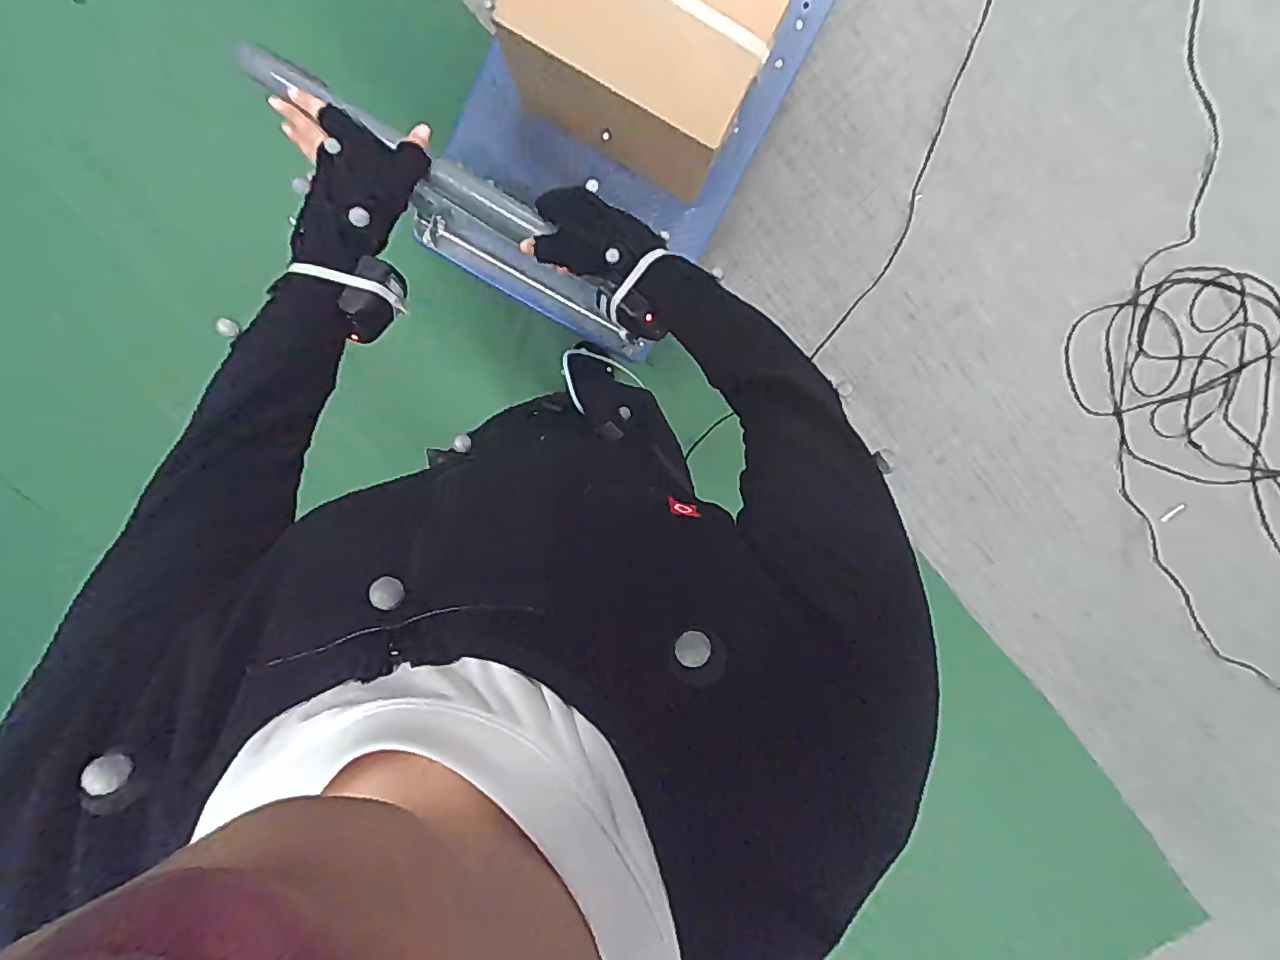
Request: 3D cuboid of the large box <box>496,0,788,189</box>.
[{"bbox_3d":[0.018,-0.805,0.976,0.408,0.320,0.320,26,100,-7],"label":"large box"}]
